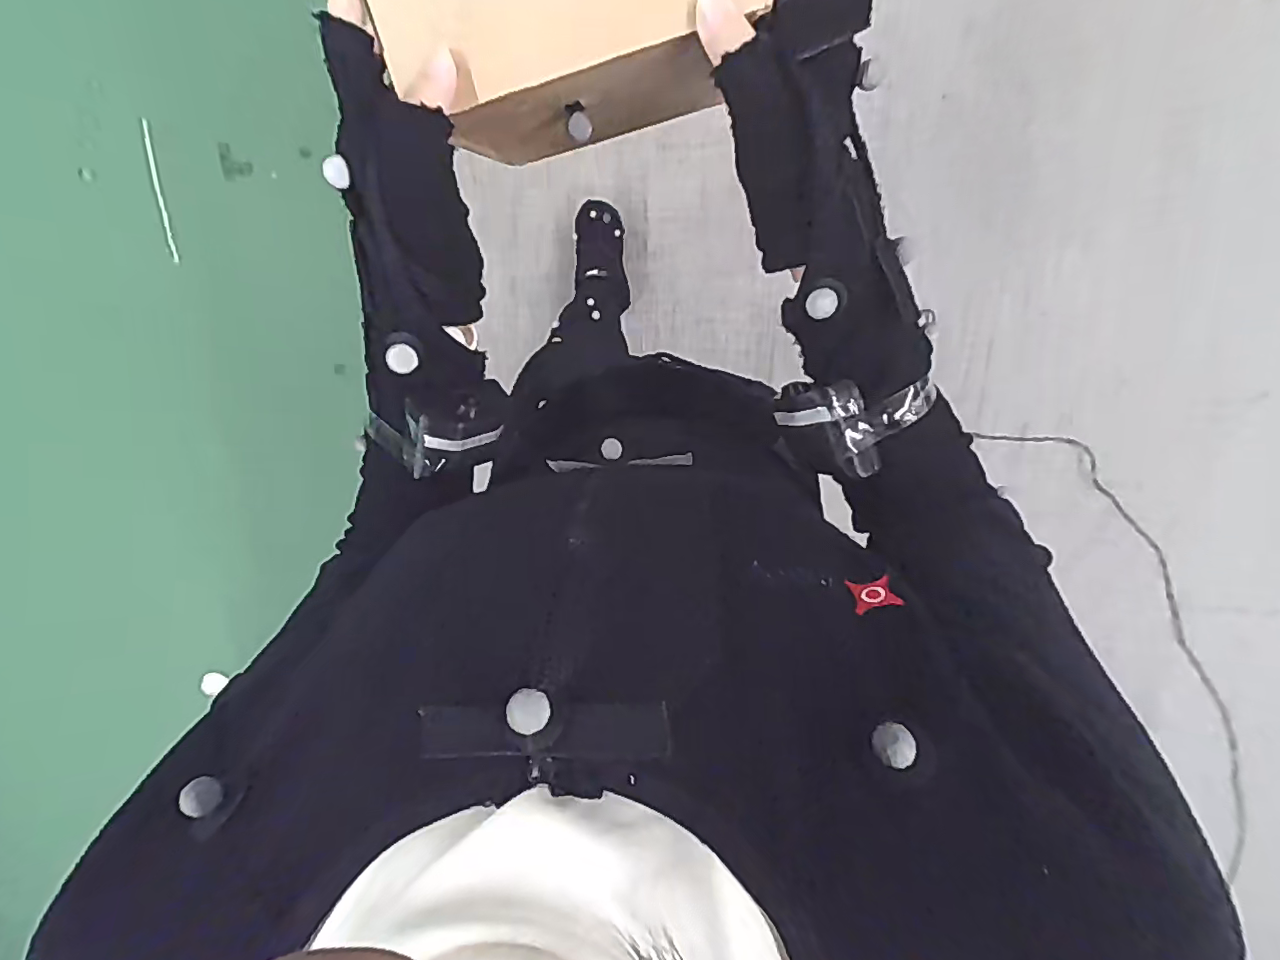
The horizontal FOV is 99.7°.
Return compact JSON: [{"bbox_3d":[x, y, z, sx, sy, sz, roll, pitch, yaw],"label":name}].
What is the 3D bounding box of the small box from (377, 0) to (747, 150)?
[{"bbox_3d":[-0.040,-0.305,0.291,0.179,0.176,0.168,-13,110,11],"label":"small box"}]
